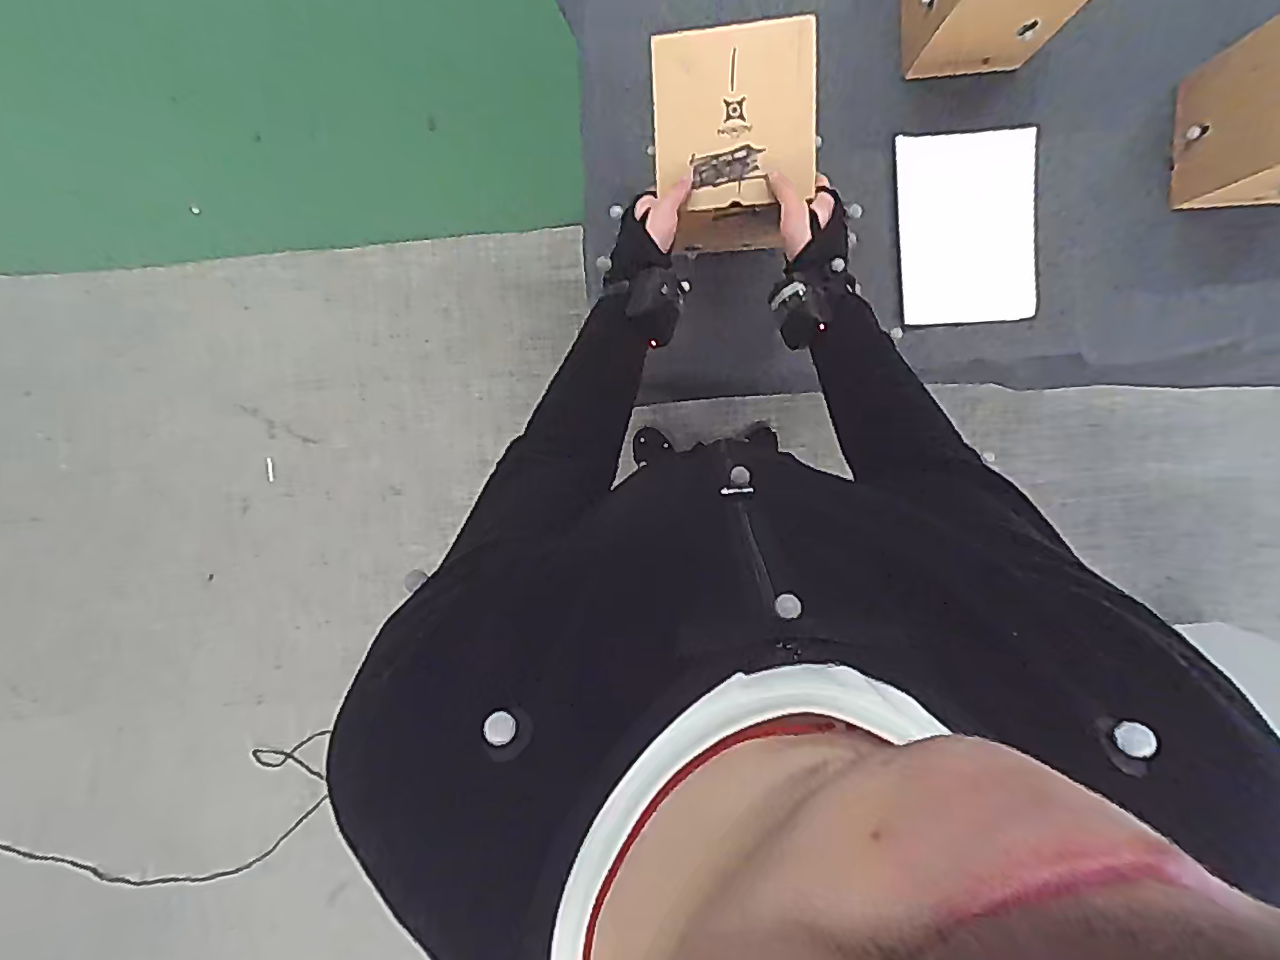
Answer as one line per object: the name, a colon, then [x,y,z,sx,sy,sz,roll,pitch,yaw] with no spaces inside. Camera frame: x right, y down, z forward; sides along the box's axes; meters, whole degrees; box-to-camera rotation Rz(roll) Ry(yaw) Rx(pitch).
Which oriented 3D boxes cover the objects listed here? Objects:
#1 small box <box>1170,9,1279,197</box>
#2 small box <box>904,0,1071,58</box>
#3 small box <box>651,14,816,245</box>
small box: [0.836,-0.479,0.689,0.168,0.176,0.179,-3,98,2]
small box: [0.443,-0.658,0.663,0.168,0.176,0.179,-5,96,1]
small box: [0.106,-0.385,0.633,0.168,0.176,0.179,-1,100,8]
